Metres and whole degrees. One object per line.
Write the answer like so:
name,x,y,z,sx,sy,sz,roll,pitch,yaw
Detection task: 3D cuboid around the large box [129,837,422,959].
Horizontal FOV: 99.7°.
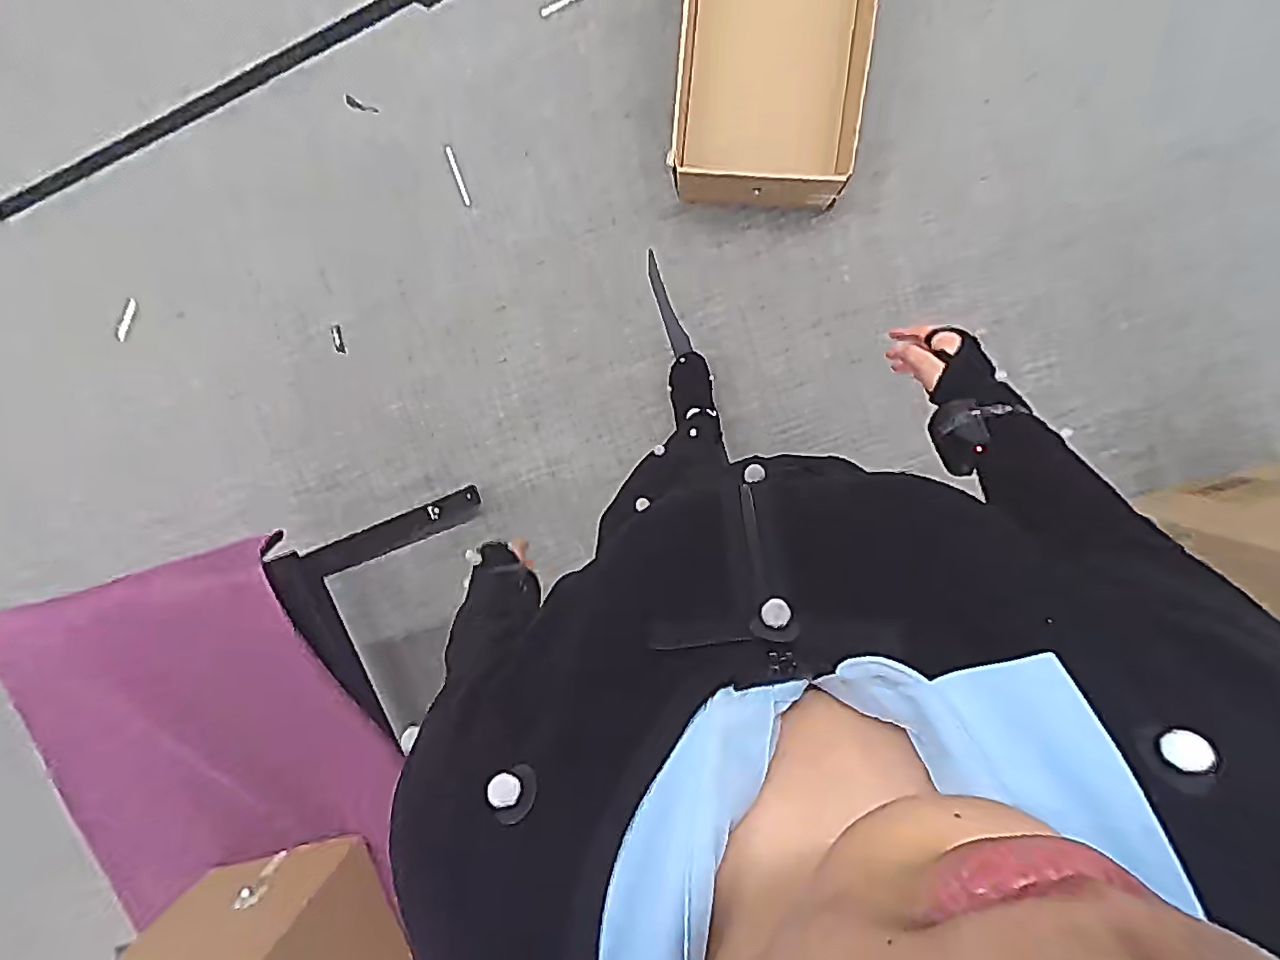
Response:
large box,-0.539,0.831,0.780,0.320,0.320,0.408,-18,97,10
